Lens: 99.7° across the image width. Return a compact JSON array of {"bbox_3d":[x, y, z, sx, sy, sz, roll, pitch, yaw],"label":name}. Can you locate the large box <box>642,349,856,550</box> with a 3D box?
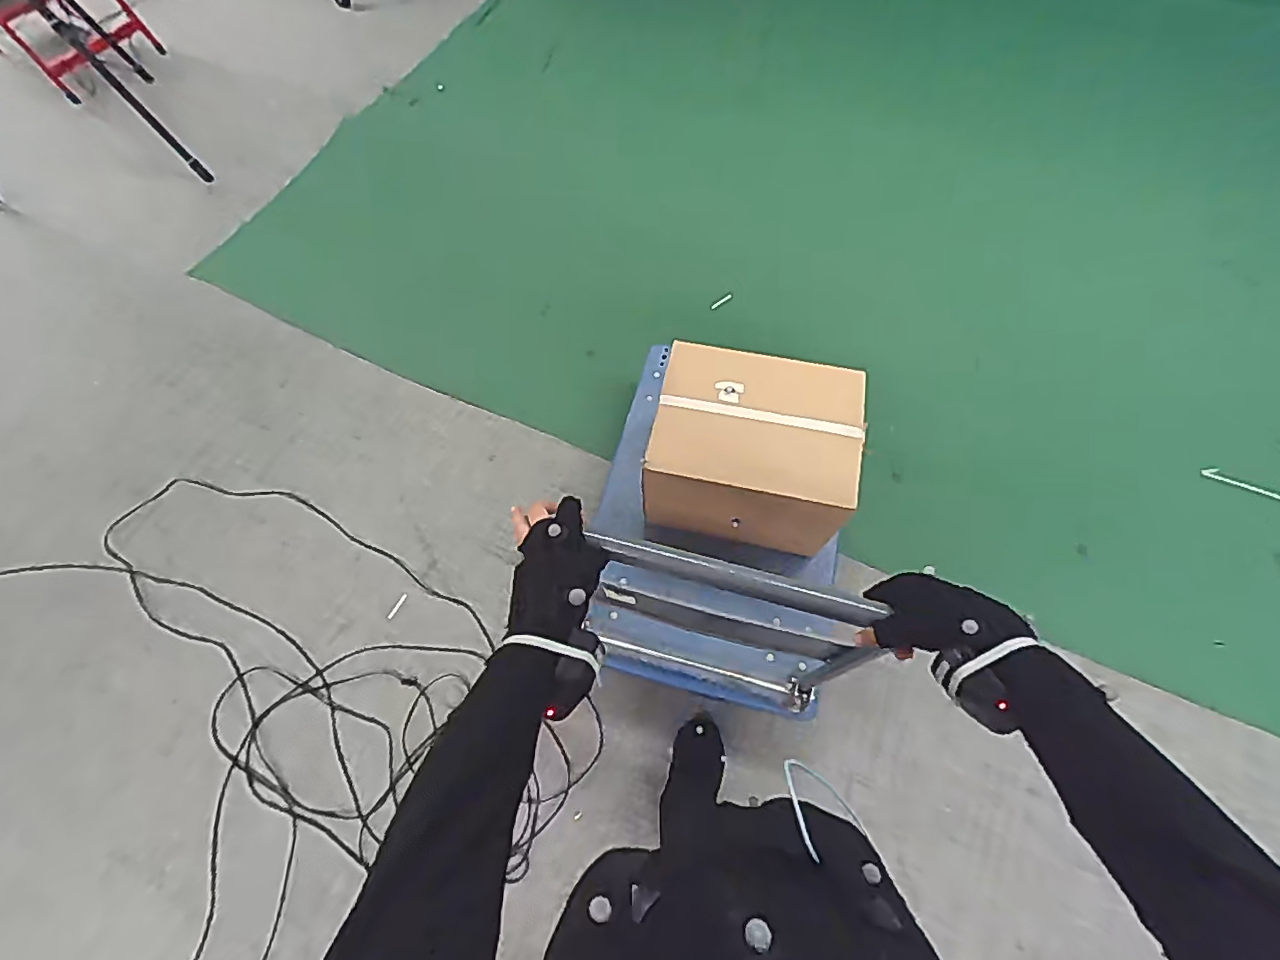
[{"bbox_3d":[0.235,-0.056,1.223,0.408,0.320,0.320,10,66,7],"label":"large box"}]
